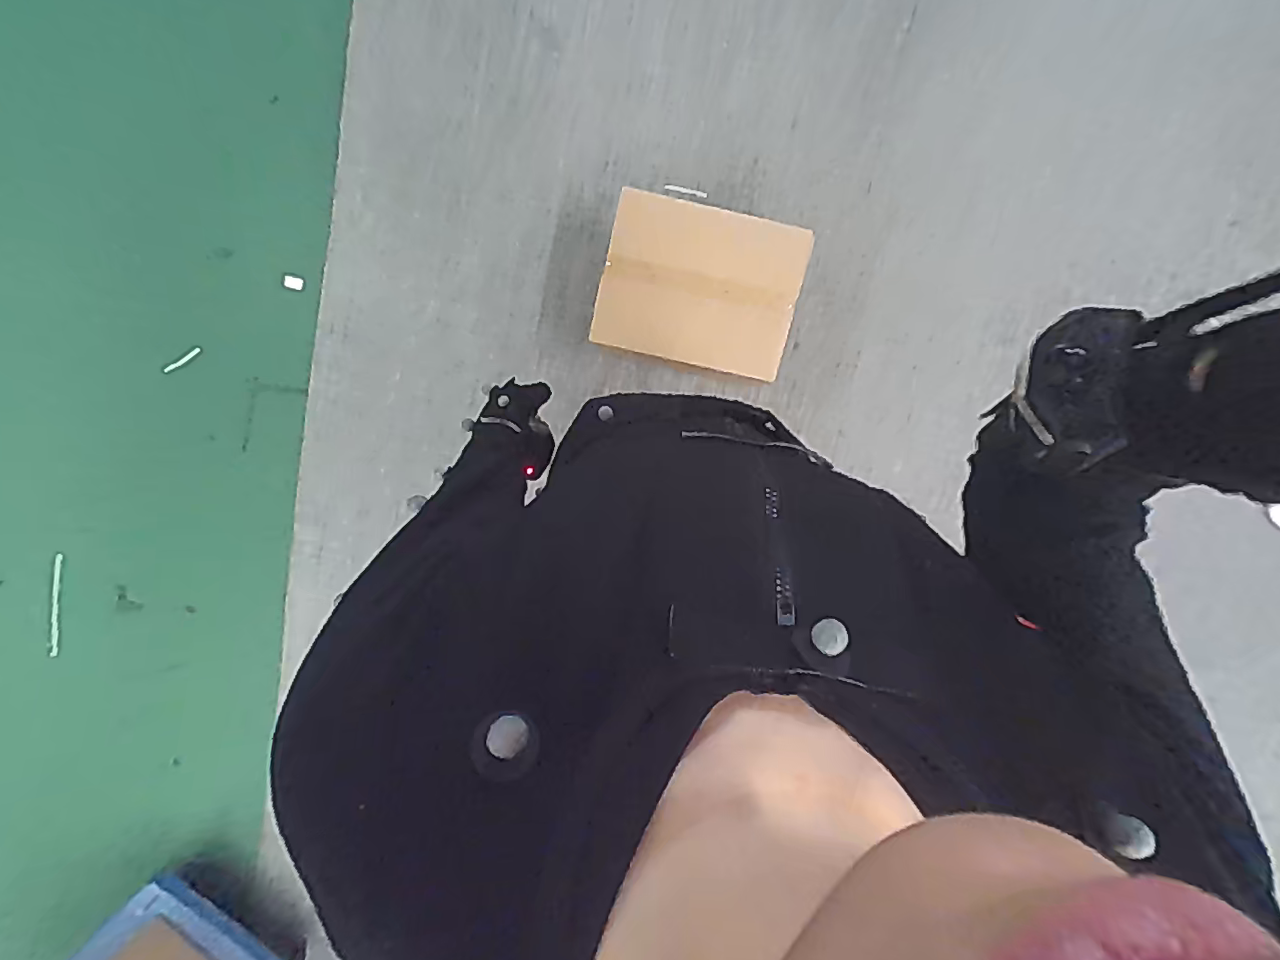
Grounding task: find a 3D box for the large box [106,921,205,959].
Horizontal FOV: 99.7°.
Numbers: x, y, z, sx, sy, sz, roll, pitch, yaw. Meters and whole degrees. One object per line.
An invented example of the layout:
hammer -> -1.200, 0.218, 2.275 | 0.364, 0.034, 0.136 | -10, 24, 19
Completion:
large box -> -1.303, 1.456, 1.363 | 0.320, 0.320, 0.408 | -42, 96, 7
